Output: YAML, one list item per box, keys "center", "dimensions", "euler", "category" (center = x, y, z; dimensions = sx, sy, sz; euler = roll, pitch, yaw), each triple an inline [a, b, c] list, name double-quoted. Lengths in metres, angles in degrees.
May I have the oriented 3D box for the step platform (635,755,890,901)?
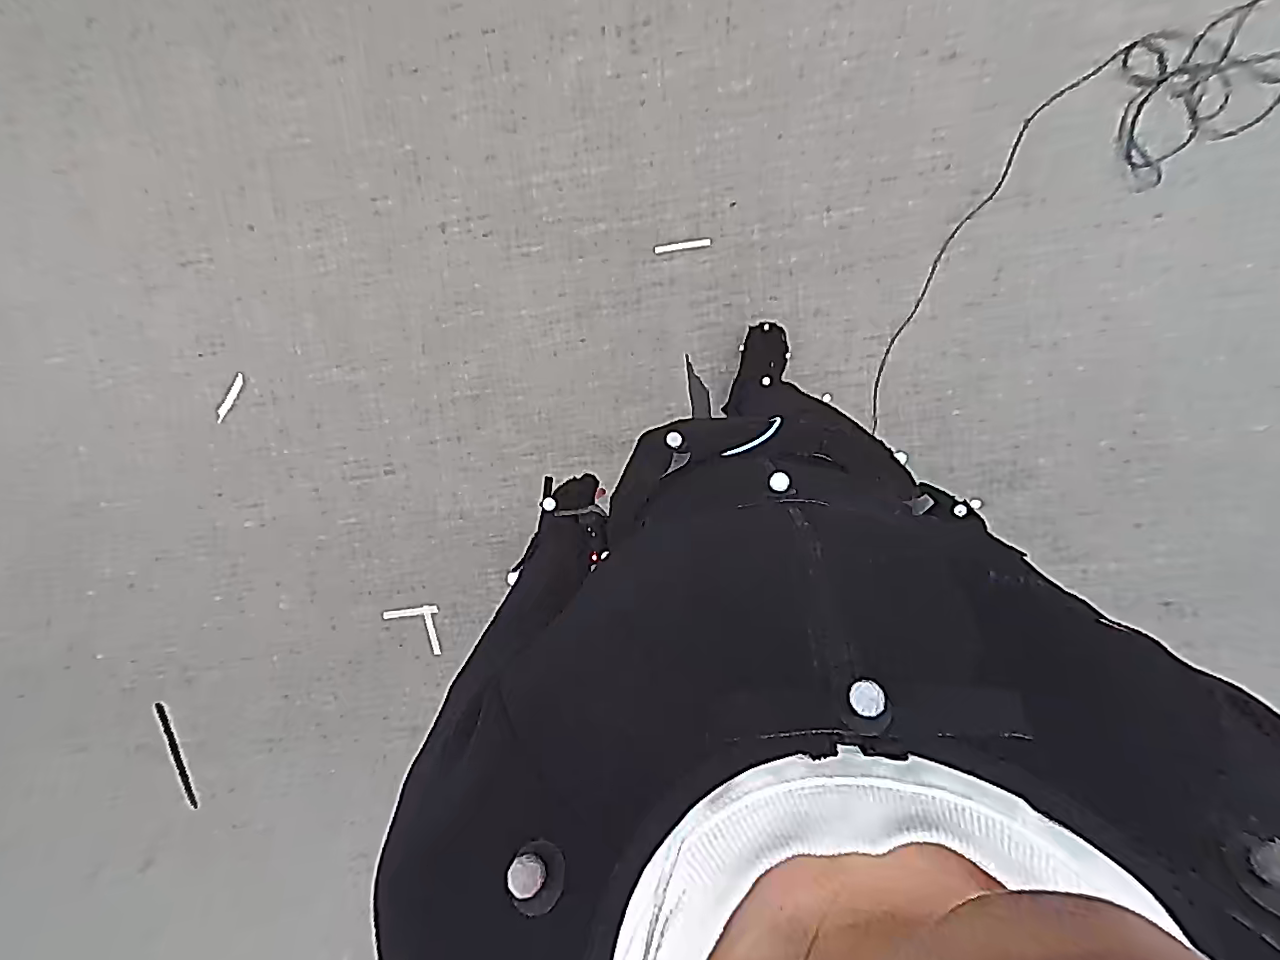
- center: [0.329, 0.981, 1.520]
  dimensions: [0.684, 0.204, 0.286]
  euler: [-8, 99, 8]
  category: "step platform"
